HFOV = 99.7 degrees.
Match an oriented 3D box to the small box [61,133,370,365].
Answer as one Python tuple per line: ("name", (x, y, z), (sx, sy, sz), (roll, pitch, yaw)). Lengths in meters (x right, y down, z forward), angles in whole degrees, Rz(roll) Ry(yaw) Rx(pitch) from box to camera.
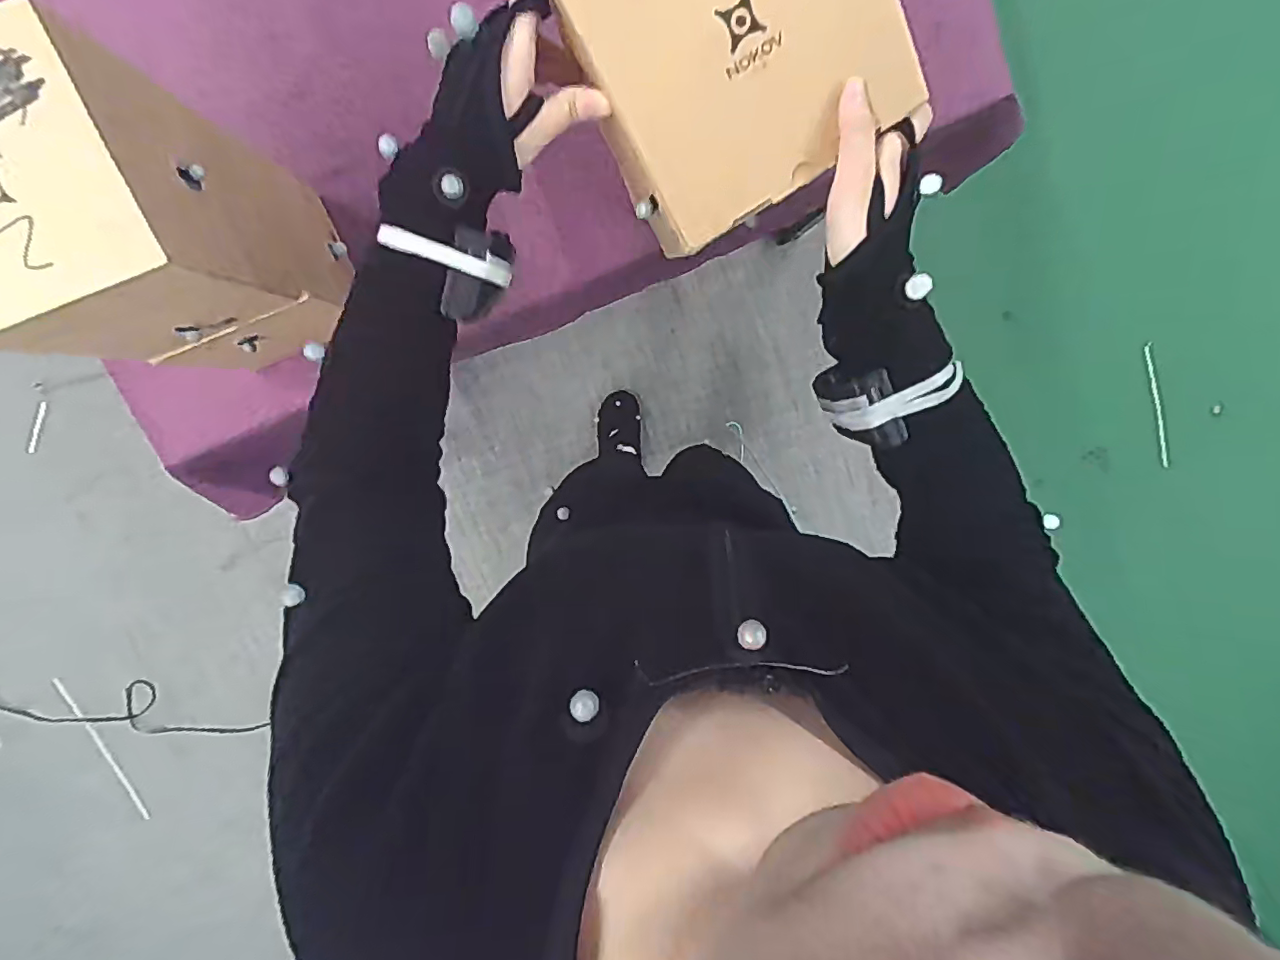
("small box", (-0.444, -0.235, 0.602), (0.179, 0.176, 0.168), (-22, 101, -1))

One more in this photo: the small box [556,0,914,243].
("small box", (0.051, -0.290, 0.384), (0.168, 0.176, 0.179), (-29, 111, 9))
